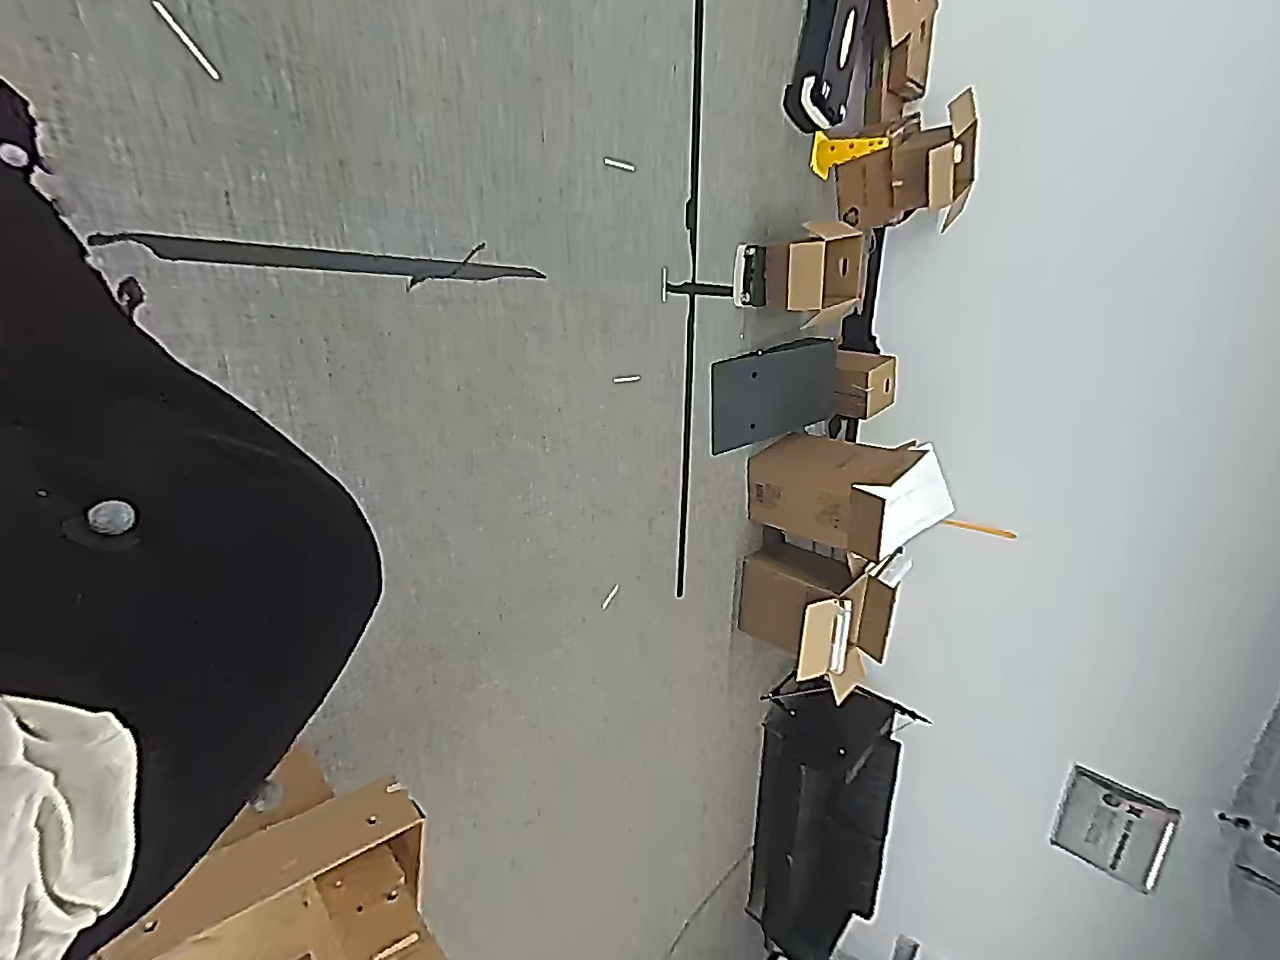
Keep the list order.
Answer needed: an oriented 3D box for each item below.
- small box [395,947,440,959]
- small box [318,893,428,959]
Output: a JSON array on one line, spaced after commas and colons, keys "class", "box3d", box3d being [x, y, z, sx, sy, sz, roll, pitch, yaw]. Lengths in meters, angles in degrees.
[{"class": "small box", "box3d": [-0.486, 1.111, 1.098, 0.168, 0.176, 0.179, 12, 94, -49]}, {"class": "small box", "box3d": [-0.603, 1.077, 1.209, 0.168, 0.176, 0.179, 6, 100, -48]}]
